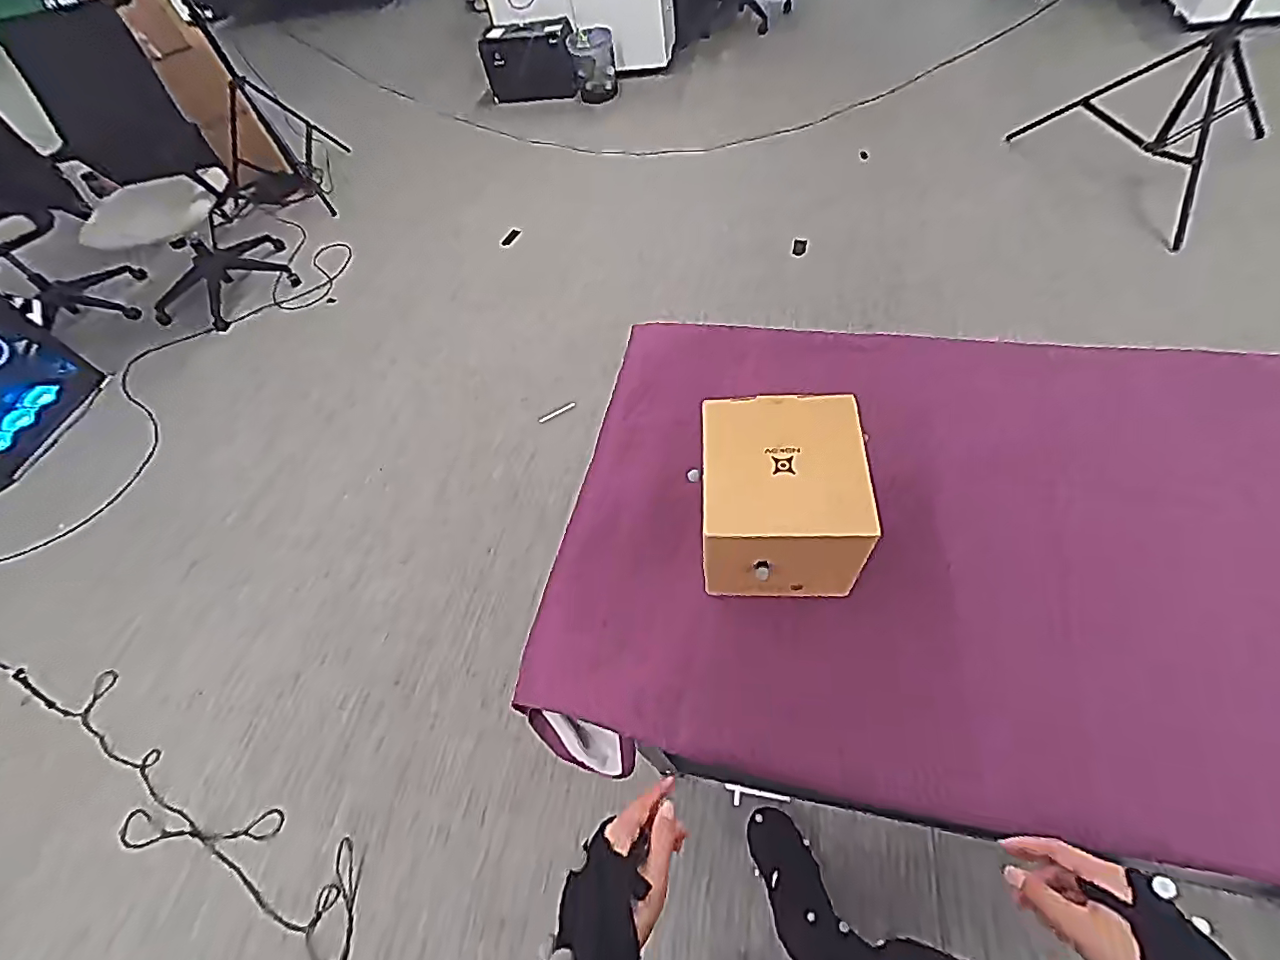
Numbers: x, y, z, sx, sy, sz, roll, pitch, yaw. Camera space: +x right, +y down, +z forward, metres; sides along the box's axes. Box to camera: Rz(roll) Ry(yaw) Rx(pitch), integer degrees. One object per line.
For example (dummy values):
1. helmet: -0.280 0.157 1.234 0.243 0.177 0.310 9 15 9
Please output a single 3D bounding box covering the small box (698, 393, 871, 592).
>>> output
1. small box: 0.155 0.023 0.627 0.168 0.176 0.179 -2 56 8
